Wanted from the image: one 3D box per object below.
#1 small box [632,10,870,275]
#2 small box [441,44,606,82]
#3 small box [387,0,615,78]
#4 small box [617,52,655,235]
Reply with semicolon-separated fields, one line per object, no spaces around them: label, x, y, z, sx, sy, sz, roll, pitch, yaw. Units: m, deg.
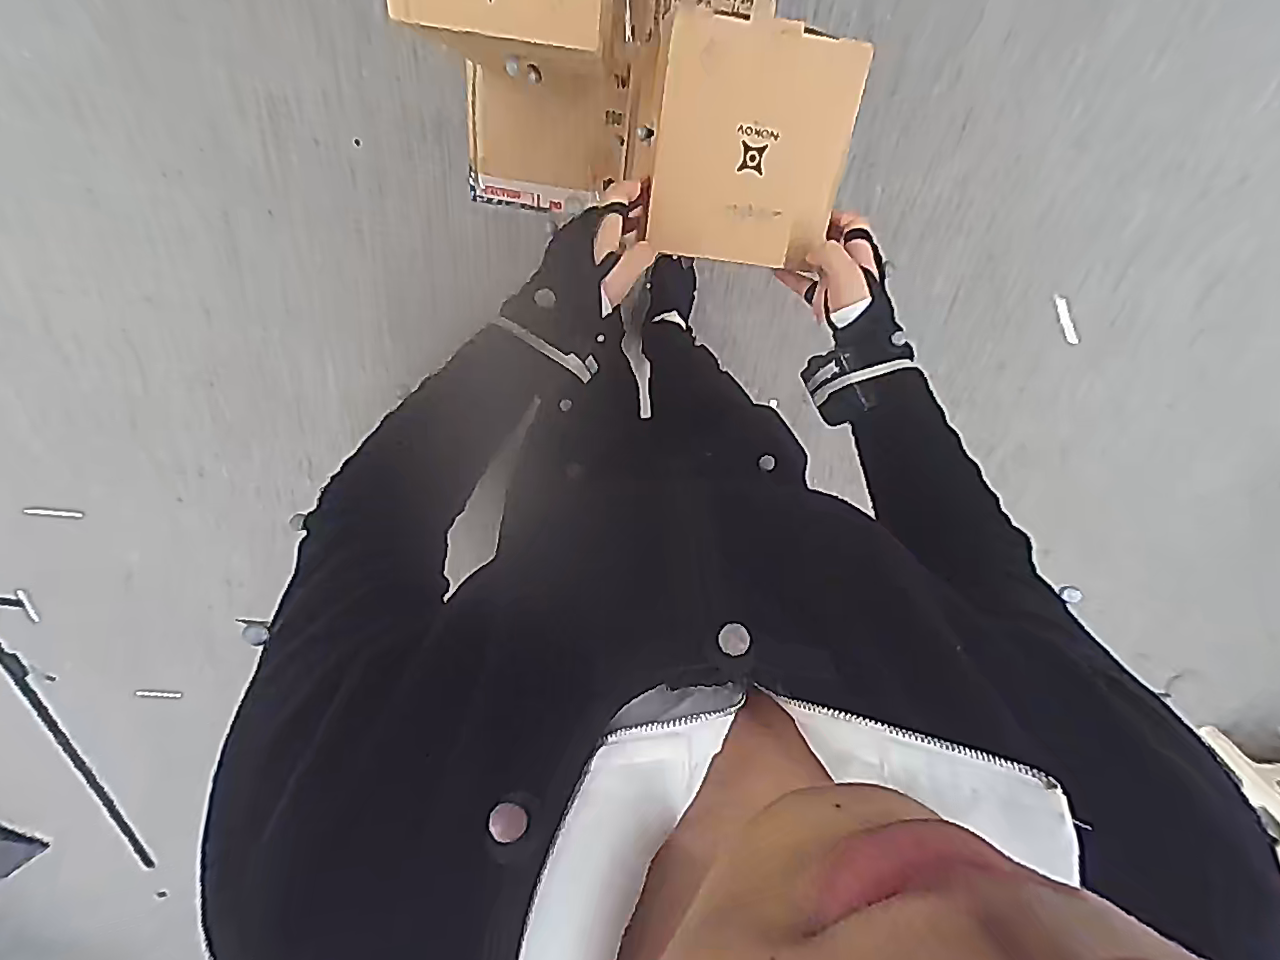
small box;0.085;-0.309;0.525;0.168;0.176;0.179;3;118;-8
small box;-0.119;-0.550;0.583;0.168;0.176;0.179;3;123;-2
small box;-0.103;-0.457;0.447;0.168;0.176;0.179;6;123;-4
small box;0.063;-0.406;0.678;0.168;0.176;0.179;5;123;-6
